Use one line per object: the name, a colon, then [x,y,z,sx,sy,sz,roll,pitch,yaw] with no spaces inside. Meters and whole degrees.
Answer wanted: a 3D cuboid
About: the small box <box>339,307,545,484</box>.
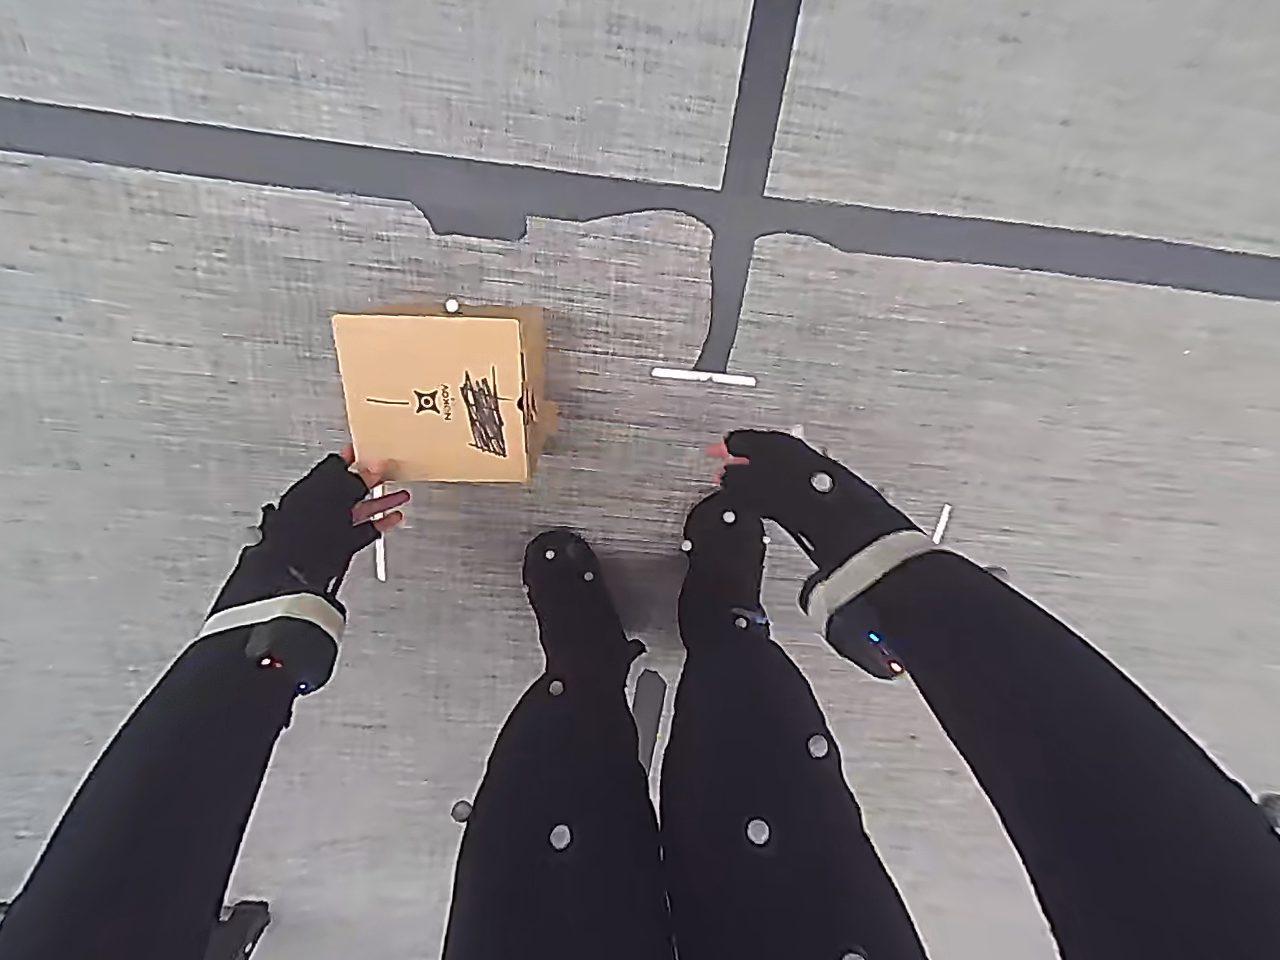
small box: [-0.201,-0.103,0.610,0.179,0.176,0.168,1,111,-3]
